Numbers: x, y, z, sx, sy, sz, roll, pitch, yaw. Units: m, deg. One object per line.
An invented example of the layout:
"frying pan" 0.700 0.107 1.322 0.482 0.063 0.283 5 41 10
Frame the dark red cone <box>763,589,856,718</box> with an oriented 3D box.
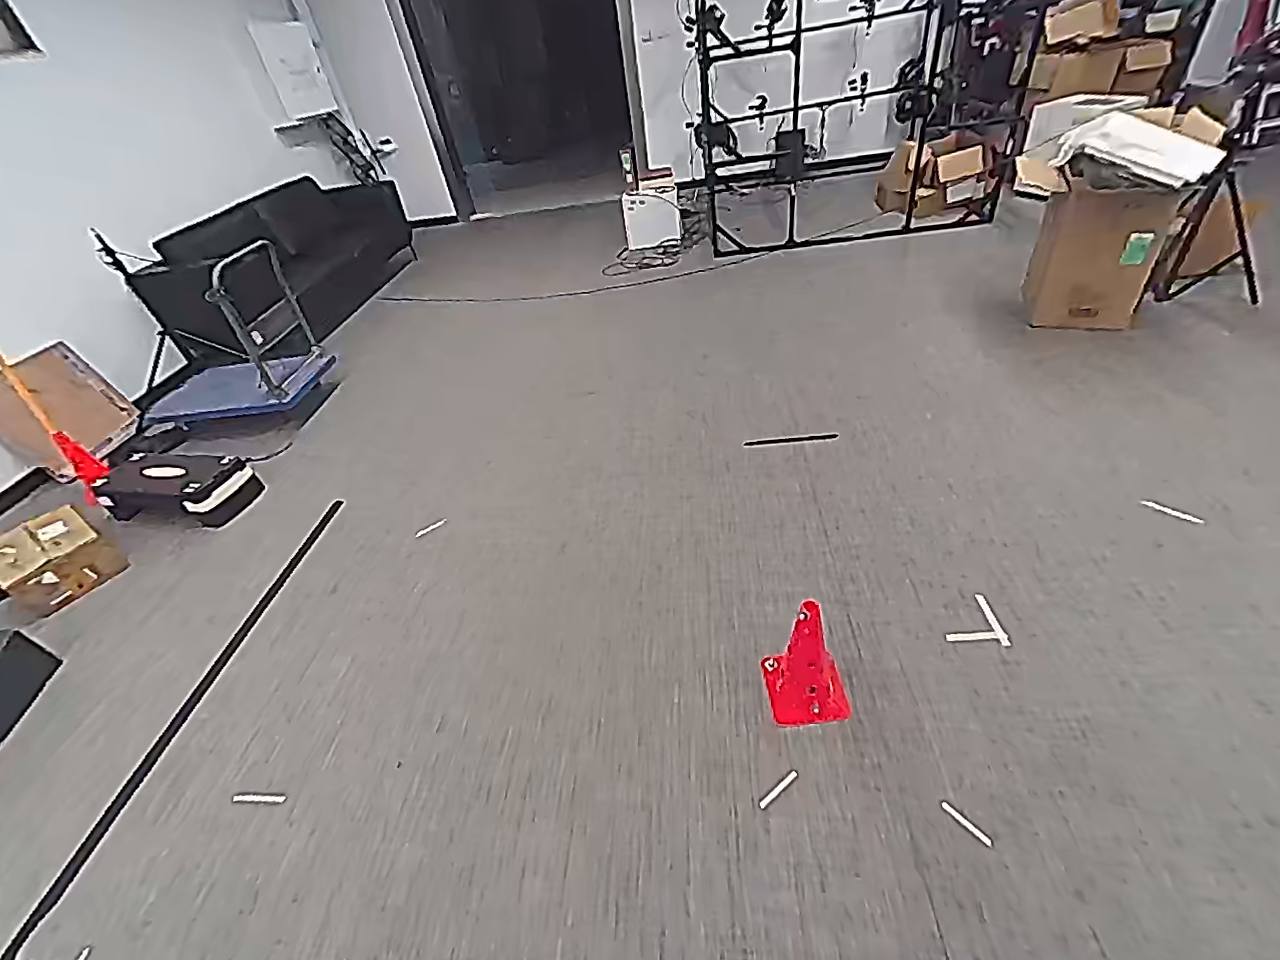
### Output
"dark red cone" 0.416 0.401 1.316 0.202 0.394 0.201 -9 40 2
